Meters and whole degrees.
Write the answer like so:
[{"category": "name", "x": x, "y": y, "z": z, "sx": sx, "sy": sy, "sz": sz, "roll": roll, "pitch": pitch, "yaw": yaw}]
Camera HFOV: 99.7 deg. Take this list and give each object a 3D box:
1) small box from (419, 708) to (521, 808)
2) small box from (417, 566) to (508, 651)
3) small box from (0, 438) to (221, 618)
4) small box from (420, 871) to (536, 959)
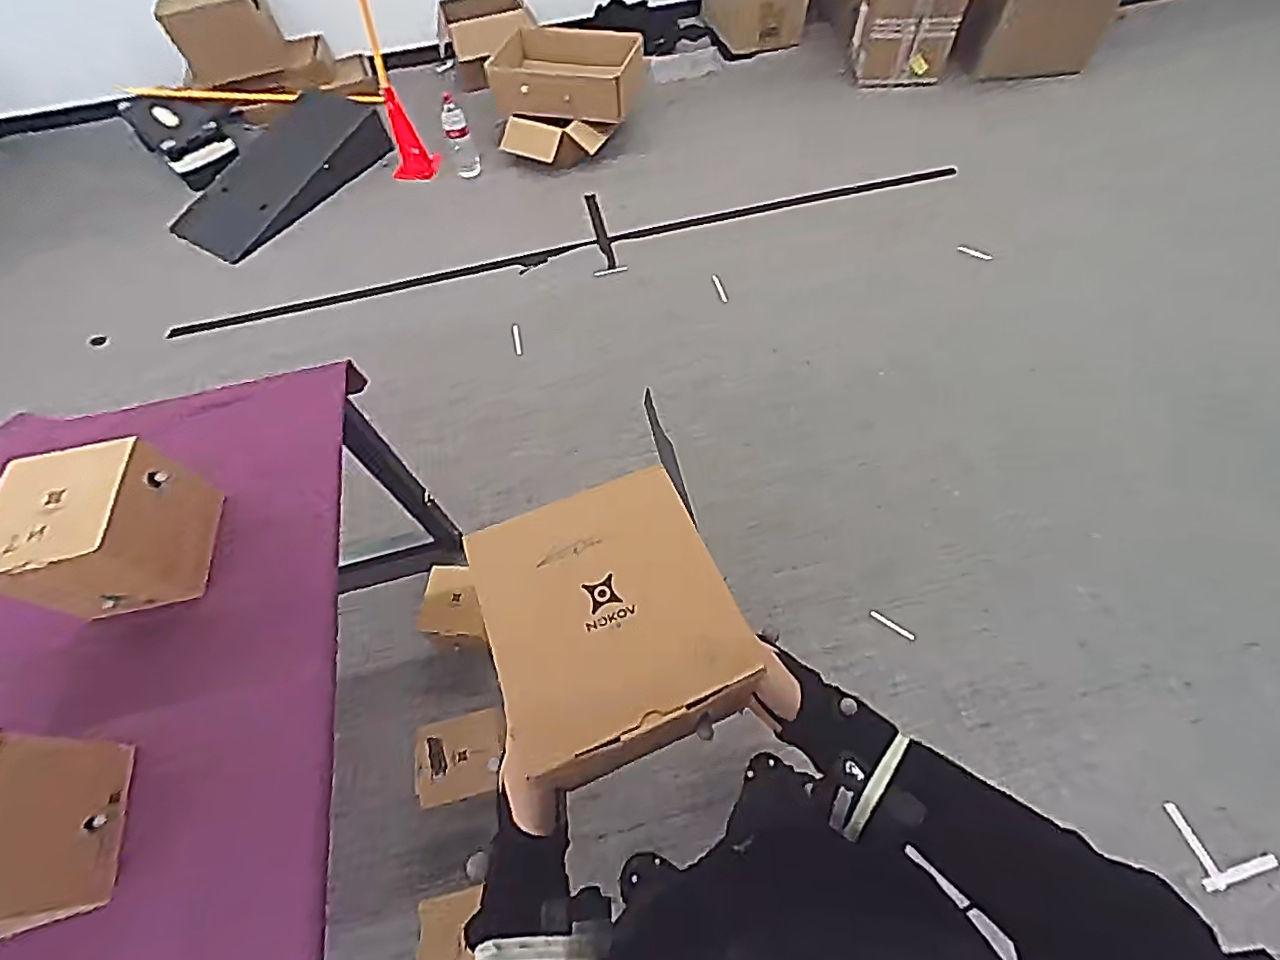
[{"category": "small box", "x": -0.386, "y": 0.640, "z": 1.239, "sx": 0.179, "sy": 0.176, "sz": 0.168, "roll": -14, "pitch": 60, "yaw": -5}, {"category": "small box", "x": -0.454, "y": 0.340, "z": 1.420, "sx": 0.168, "sy": 0.176, "sz": 0.179, "roll": 2, "pitch": 61, "yaw": 4}, {"category": "small box", "x": -0.728, "y": 0.071, "z": 0.747, "sx": 0.168, "sy": 0.176, "sz": 0.179, "roll": -12, "pitch": 60, "yaw": -2}, {"category": "small box", "x": -0.321, "y": 0.907, "z": 1.082, "sx": 0.179, "sy": 0.176, "sz": 0.168, "roll": -13, "pitch": 60, "yaw": -3}]
